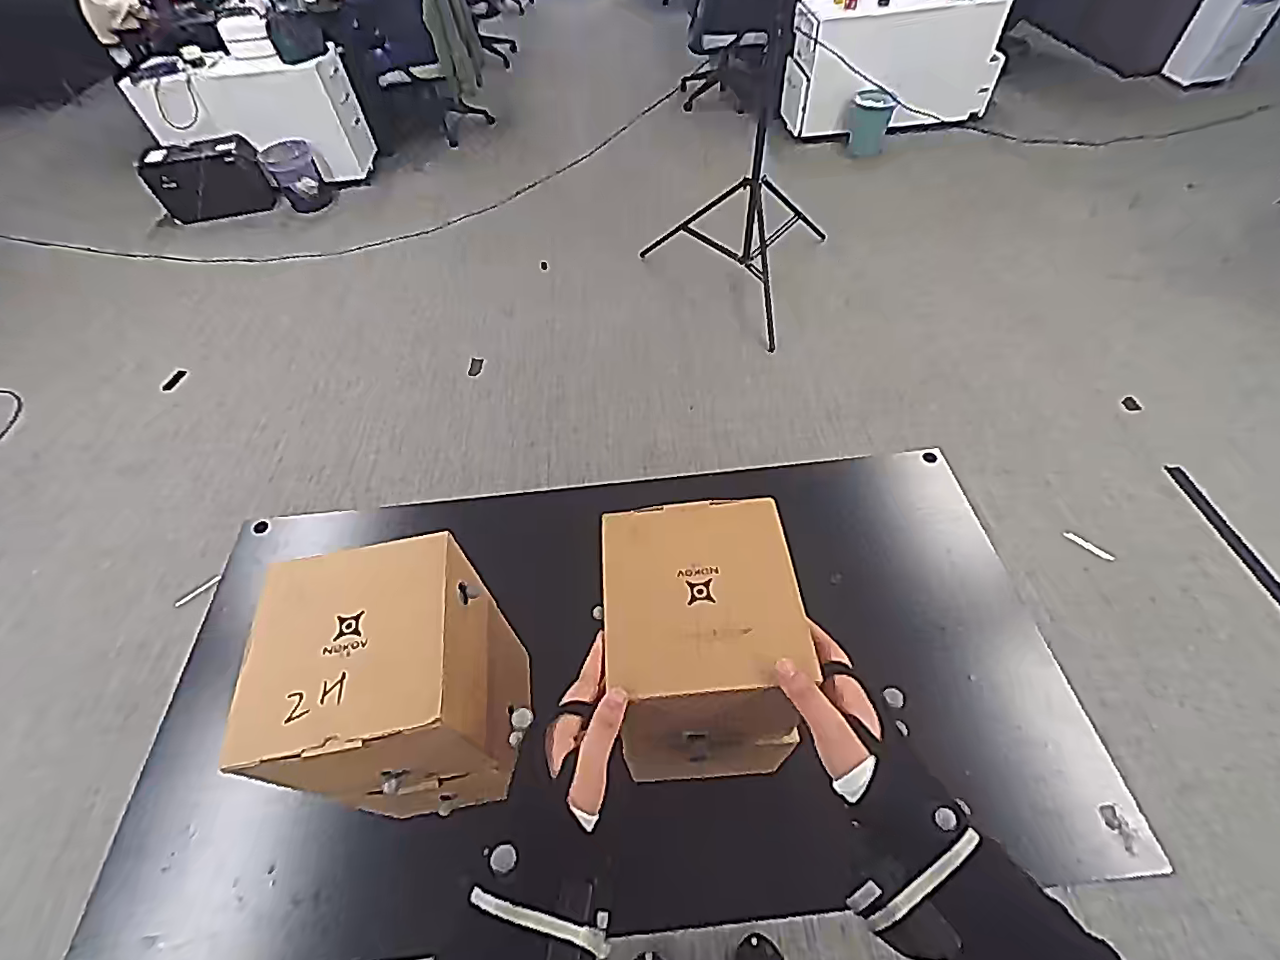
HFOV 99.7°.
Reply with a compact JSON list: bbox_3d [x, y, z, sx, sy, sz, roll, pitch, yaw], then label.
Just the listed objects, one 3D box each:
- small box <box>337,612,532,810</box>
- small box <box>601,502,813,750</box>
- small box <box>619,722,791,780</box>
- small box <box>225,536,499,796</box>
[{"bbox_3d":[-0.230,0.284,0.652,0.168,0.176,0.179,-10,53,-3],"label":"small box"},{"bbox_3d":[0.053,0.145,0.528,0.168,0.176,0.179,-6,51,1],"label":"small box"},{"bbox_3d":[0.068,0.252,0.652,0.179,0.176,0.168,-4,52,0],"label":"small box"},{"bbox_3d":[-0.240,0.181,0.522,0.168,0.176,0.179,-11,53,-3],"label":"small box"}]
